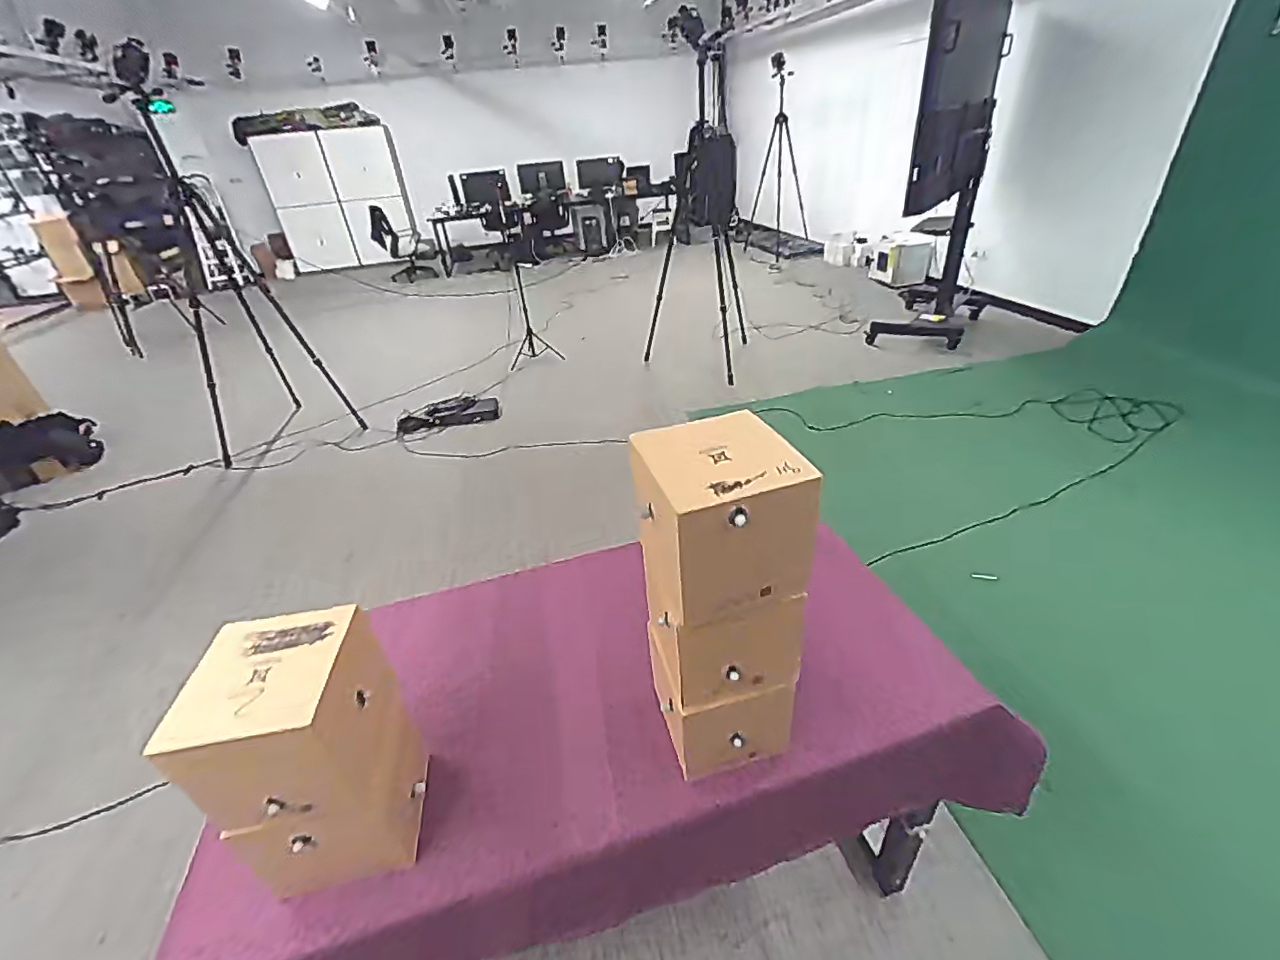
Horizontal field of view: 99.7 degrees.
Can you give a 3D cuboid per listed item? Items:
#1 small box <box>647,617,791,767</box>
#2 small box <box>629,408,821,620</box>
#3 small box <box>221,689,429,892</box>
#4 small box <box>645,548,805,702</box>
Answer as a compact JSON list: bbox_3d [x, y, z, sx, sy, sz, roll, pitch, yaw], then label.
[{"bbox_3d":[0.117,0.311,0.833,0.168,0.176,0.179,-12,34,-10],"label":"small box"},{"bbox_3d":[0.093,0.036,0.656,0.168,0.176,0.179,-15,35,-12],"label":"small box"},{"bbox_3d":[-0.411,0.425,0.742,0.179,0.176,0.168,-10,34,-8],"label":"small box"},{"bbox_3d":[0.106,0.170,0.750,0.168,0.176,0.179,-12,35,-9],"label":"small box"}]
